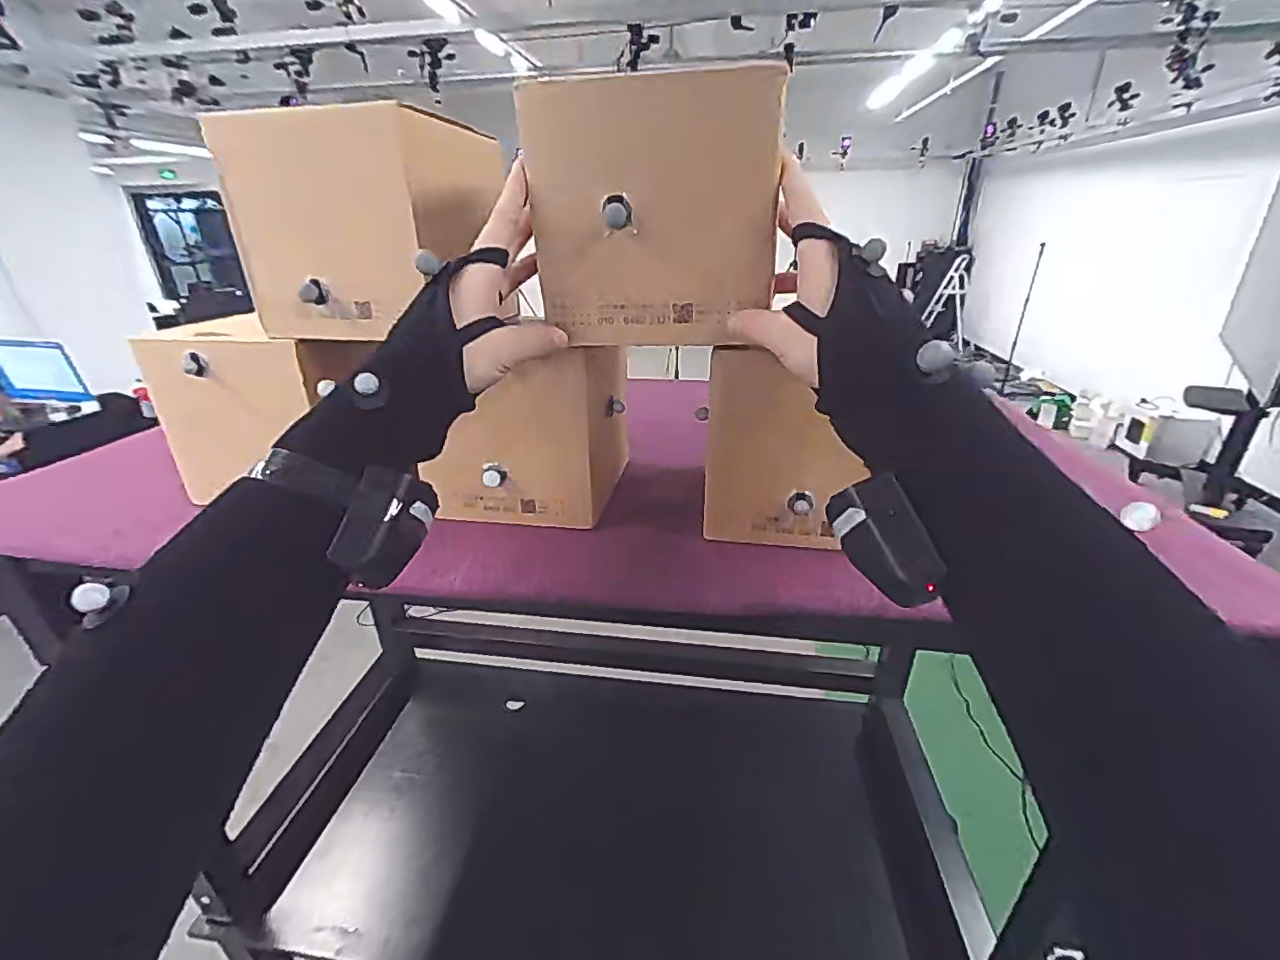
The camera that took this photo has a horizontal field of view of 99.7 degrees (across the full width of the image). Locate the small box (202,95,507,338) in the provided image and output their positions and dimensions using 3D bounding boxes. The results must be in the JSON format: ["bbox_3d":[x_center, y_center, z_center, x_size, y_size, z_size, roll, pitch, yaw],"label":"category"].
[{"bbox_3d":[-0.232,-0.229,0.494,0.168,0.176,0.179,3,25,10],"label":"small box"}]

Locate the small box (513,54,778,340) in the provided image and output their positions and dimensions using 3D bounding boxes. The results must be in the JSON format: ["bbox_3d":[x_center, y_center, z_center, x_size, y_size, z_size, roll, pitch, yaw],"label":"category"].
[{"bbox_3d":[0.016,-0.214,0.432,0.168,0.176,0.179,1,30,7],"label":"small box"}]

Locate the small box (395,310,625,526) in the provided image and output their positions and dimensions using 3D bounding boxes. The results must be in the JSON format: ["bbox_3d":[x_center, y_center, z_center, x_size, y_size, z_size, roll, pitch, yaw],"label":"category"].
[{"bbox_3d":[-0.112,-0.072,0.541,0.168,0.176,0.179,3,25,9],"label":"small box"}]

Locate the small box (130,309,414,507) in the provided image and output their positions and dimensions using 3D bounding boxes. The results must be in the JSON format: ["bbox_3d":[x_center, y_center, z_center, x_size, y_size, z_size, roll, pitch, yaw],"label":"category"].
[{"bbox_3d":[-0.362,-0.086,0.574,0.168,0.176,0.179,3,23,8],"label":"small box"}]
